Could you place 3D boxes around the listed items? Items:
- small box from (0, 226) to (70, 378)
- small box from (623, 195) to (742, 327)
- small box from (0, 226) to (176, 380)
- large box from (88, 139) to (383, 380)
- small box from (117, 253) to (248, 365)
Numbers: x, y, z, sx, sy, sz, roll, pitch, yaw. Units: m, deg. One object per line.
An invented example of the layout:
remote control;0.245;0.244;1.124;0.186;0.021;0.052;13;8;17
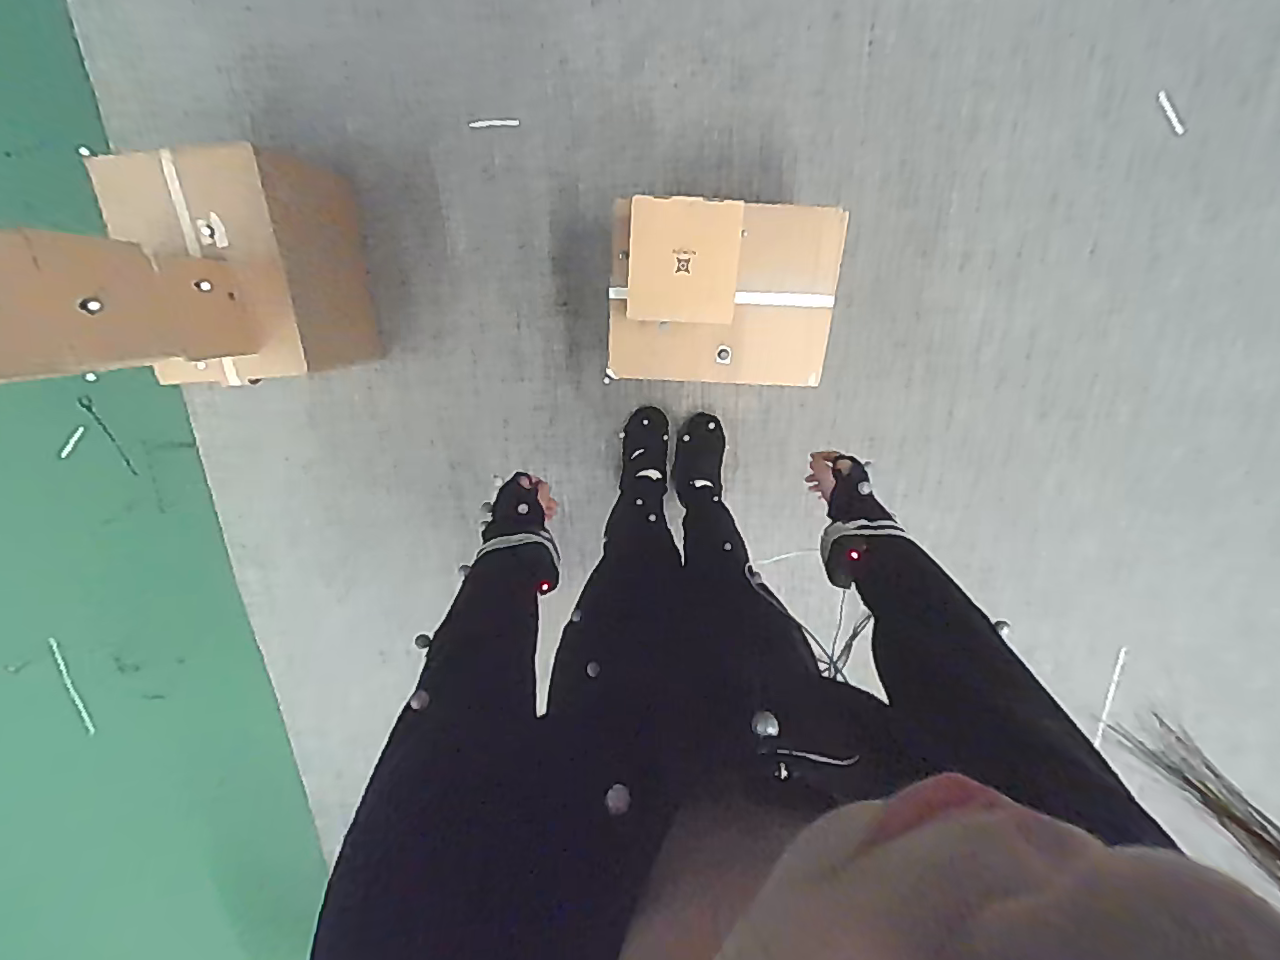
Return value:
small box;-0.835;-0.197;0.619;0.168;0.176;0.179;-6;108;4
small box;0.065;-0.346;0.880;0.168;0.176;0.179;4;106;1
small box;-0.830;-0.249;0.775;0.168;0.176;0.179;-8;107;4
large box;-0.801;-0.436;1.142;0.320;0.320;0.408;-3;107;3
small box;-0.824;-0.293;0.933;0.179;0.176;0.168;-3;107;4
